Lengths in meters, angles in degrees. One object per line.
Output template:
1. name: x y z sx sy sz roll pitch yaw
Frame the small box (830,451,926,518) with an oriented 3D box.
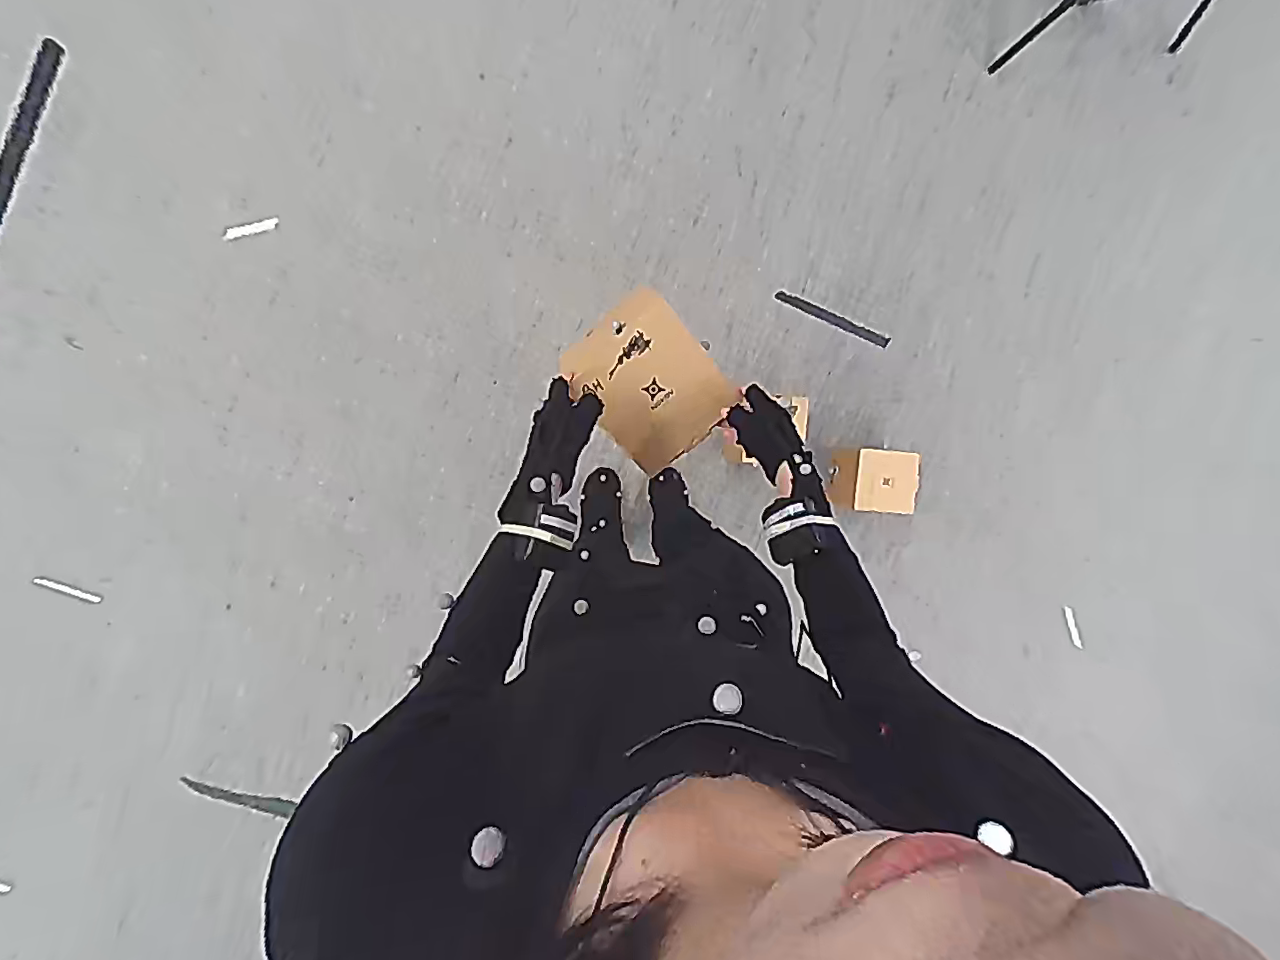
1. small box: 0.652 0.008 1.493 0.179 0.176 0.168 4 94 -6

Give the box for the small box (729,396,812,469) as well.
1. small box: 0.342 -0.125 1.445 0.168 0.176 0.179 3 95 -7

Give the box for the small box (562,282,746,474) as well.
1. small box: 0.011 -0.146 0.739 0.168 0.176 0.179 -40 116 10
